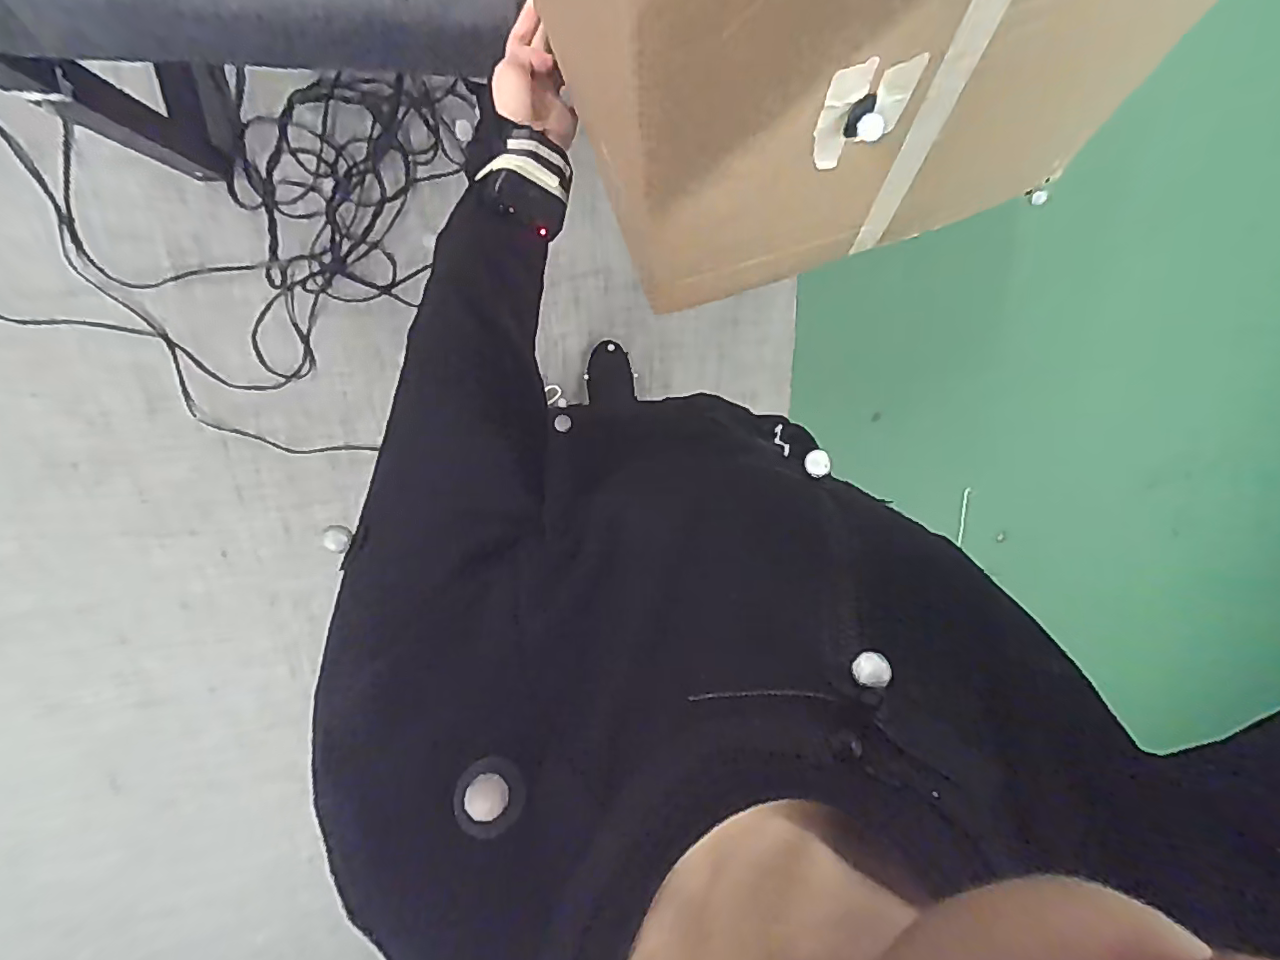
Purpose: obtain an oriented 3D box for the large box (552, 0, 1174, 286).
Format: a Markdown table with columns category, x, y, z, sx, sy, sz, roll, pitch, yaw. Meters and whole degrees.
| category | x | y | z | sx | sy | sz | roll | pitch | yaw |
| --- | --- | --- | --- | --- | --- | --- | --- | --- | --- |
| large box | 0.098 | -0.370 | 0.240 | 0.320 | 0.408 | 0.320 | -19 | 78 | 0 |
